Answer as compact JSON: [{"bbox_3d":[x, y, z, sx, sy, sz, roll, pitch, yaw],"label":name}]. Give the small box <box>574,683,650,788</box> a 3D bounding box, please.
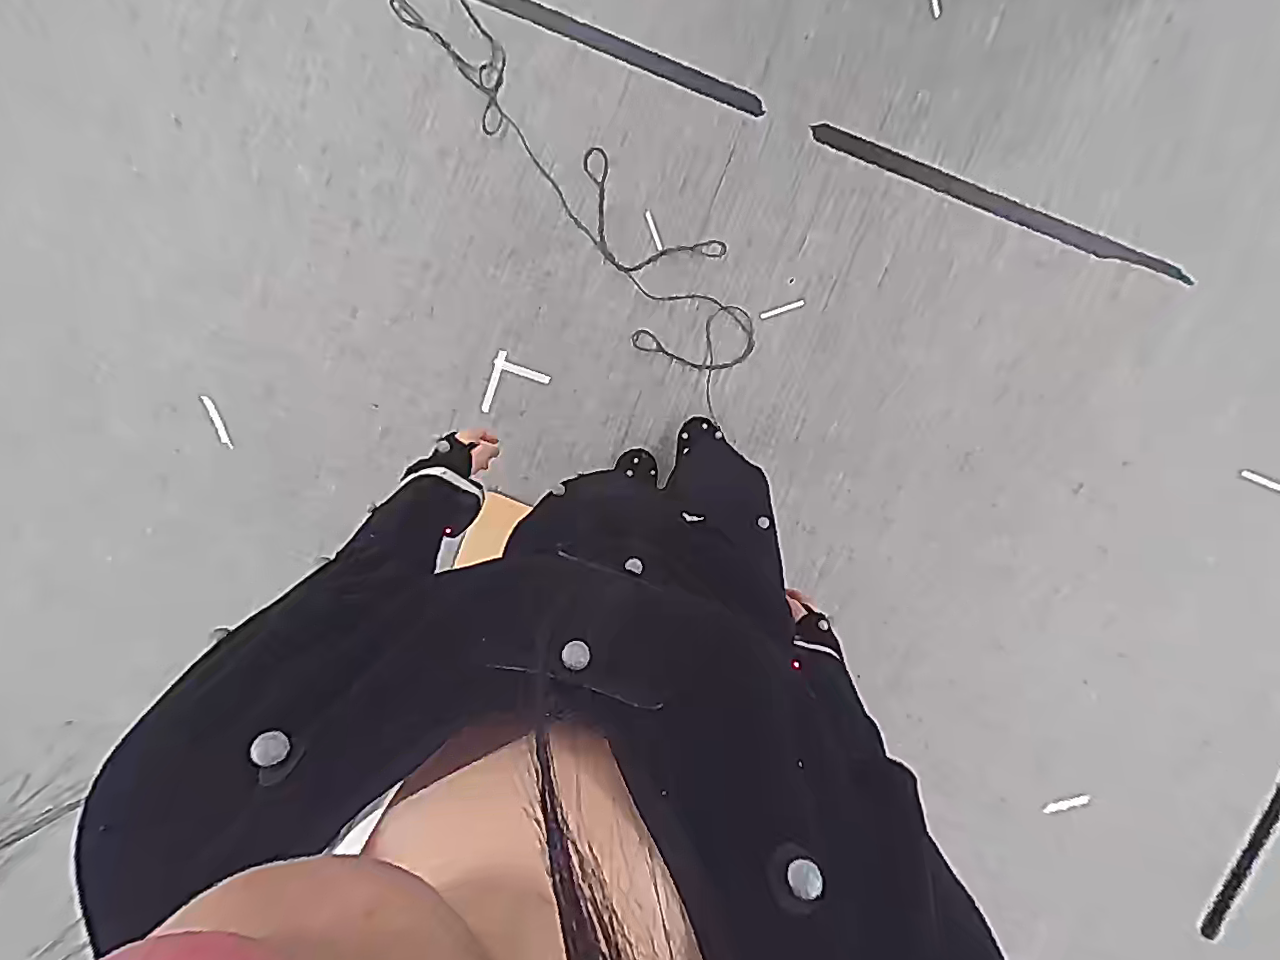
[{"bbox_3d":[-0.068,0.672,1.438,0.168,0.176,0.179,12,95,0],"label":"small box"}]
